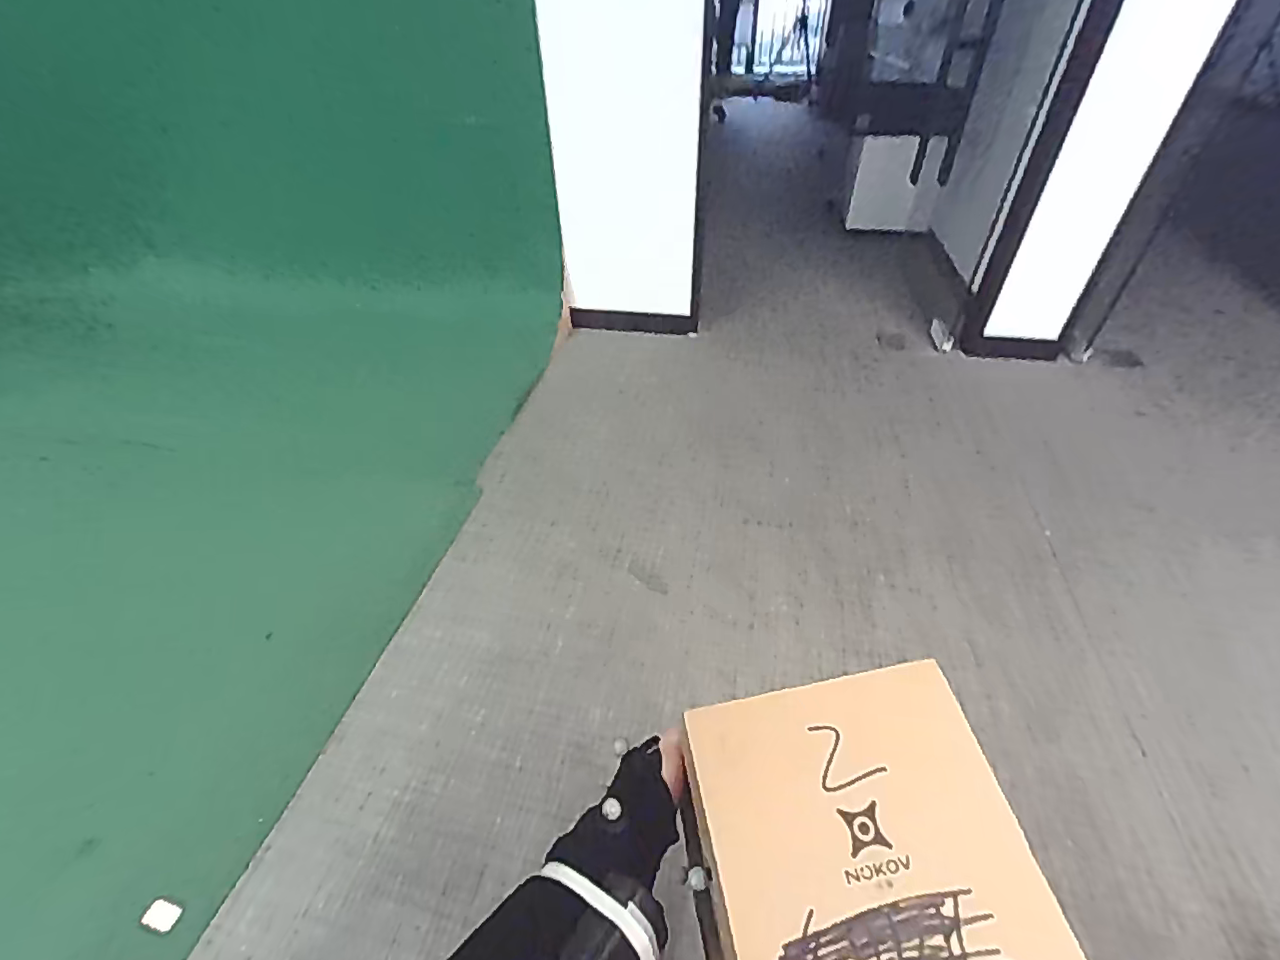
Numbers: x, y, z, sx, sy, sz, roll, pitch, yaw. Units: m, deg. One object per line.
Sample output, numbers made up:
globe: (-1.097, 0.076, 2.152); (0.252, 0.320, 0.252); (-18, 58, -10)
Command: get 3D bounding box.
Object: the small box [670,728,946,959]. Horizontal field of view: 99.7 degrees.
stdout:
small box: (0.128, 0.339, 0.490); (0.179, 0.176, 0.168); (-9, 56, -1)
